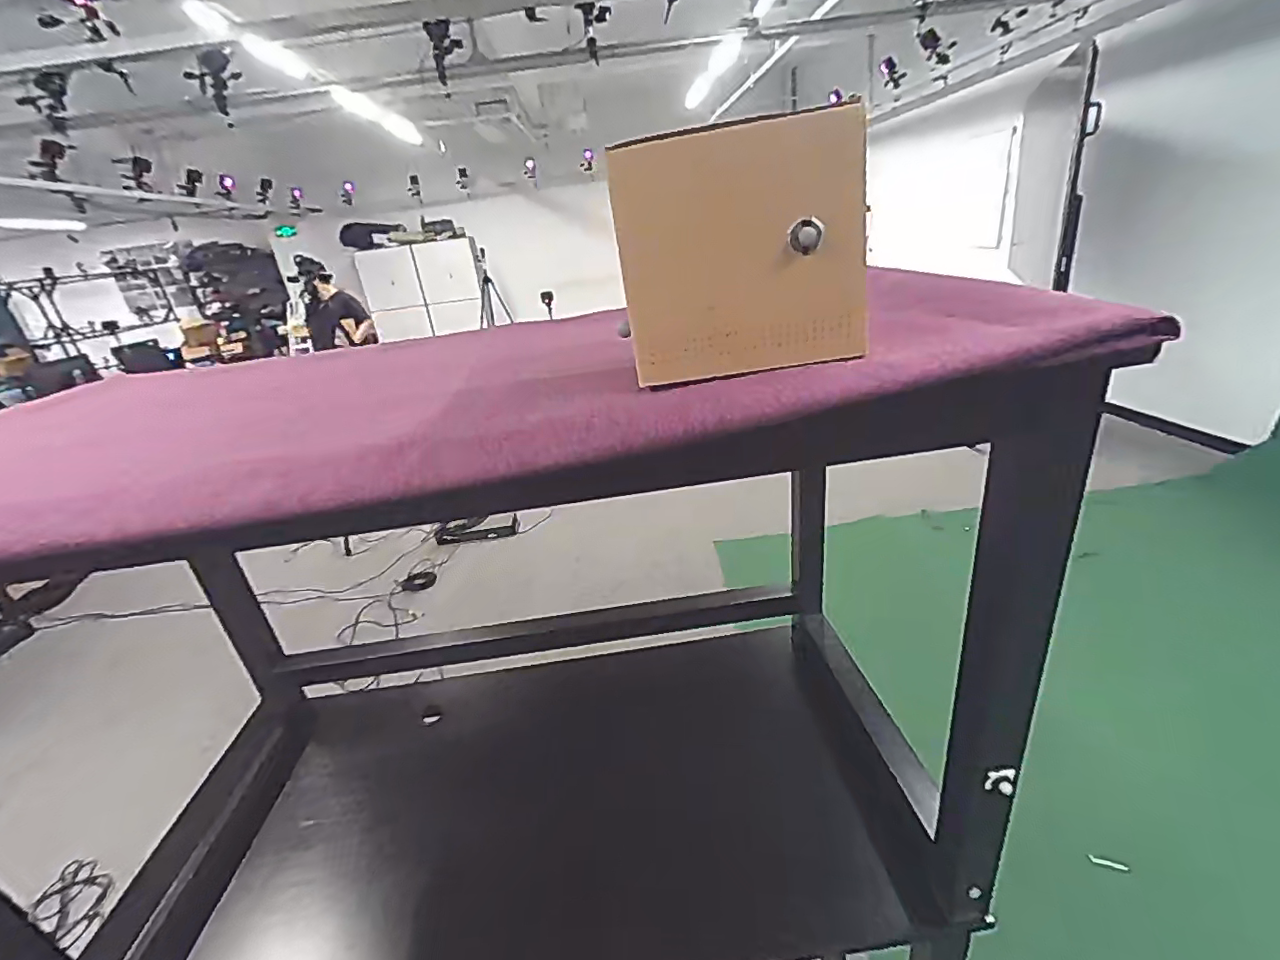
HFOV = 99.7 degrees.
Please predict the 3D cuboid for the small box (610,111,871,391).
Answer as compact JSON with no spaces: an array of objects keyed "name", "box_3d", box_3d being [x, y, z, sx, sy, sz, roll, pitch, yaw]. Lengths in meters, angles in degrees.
[{"name":"small box","box_3d":[0.079,-0.184,0.462,0.179,0.176,0.168,-8,21,4]}]
